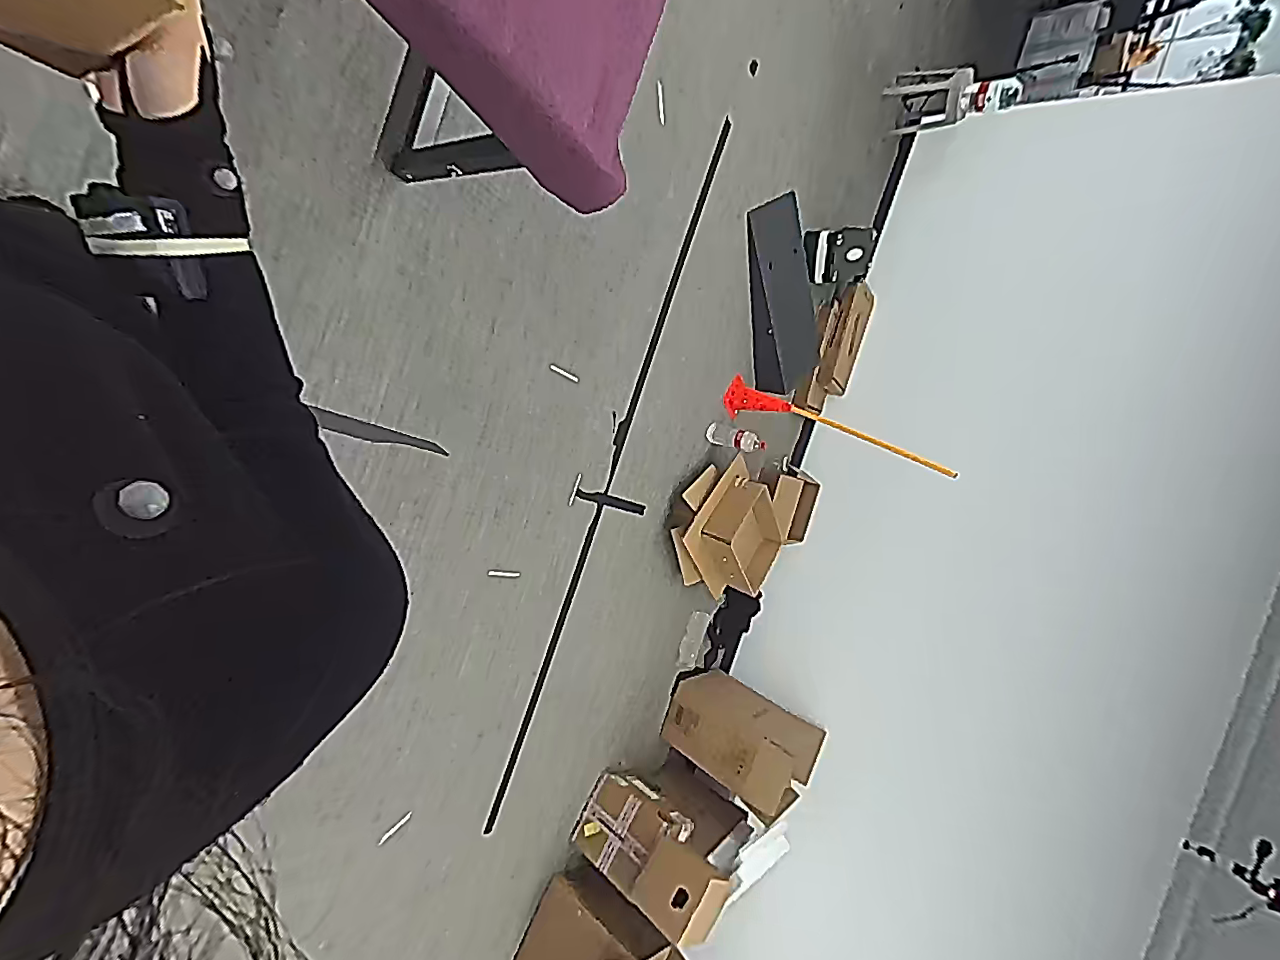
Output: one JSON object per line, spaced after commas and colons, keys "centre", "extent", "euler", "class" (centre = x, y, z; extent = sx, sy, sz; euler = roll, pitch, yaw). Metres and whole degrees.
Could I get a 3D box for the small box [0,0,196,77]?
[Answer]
{"centre": [-0.306, -0.316, 0.224], "extent": [0.168, 0.176, 0.179], "euler": [3, 97, -58], "class": "small box"}
